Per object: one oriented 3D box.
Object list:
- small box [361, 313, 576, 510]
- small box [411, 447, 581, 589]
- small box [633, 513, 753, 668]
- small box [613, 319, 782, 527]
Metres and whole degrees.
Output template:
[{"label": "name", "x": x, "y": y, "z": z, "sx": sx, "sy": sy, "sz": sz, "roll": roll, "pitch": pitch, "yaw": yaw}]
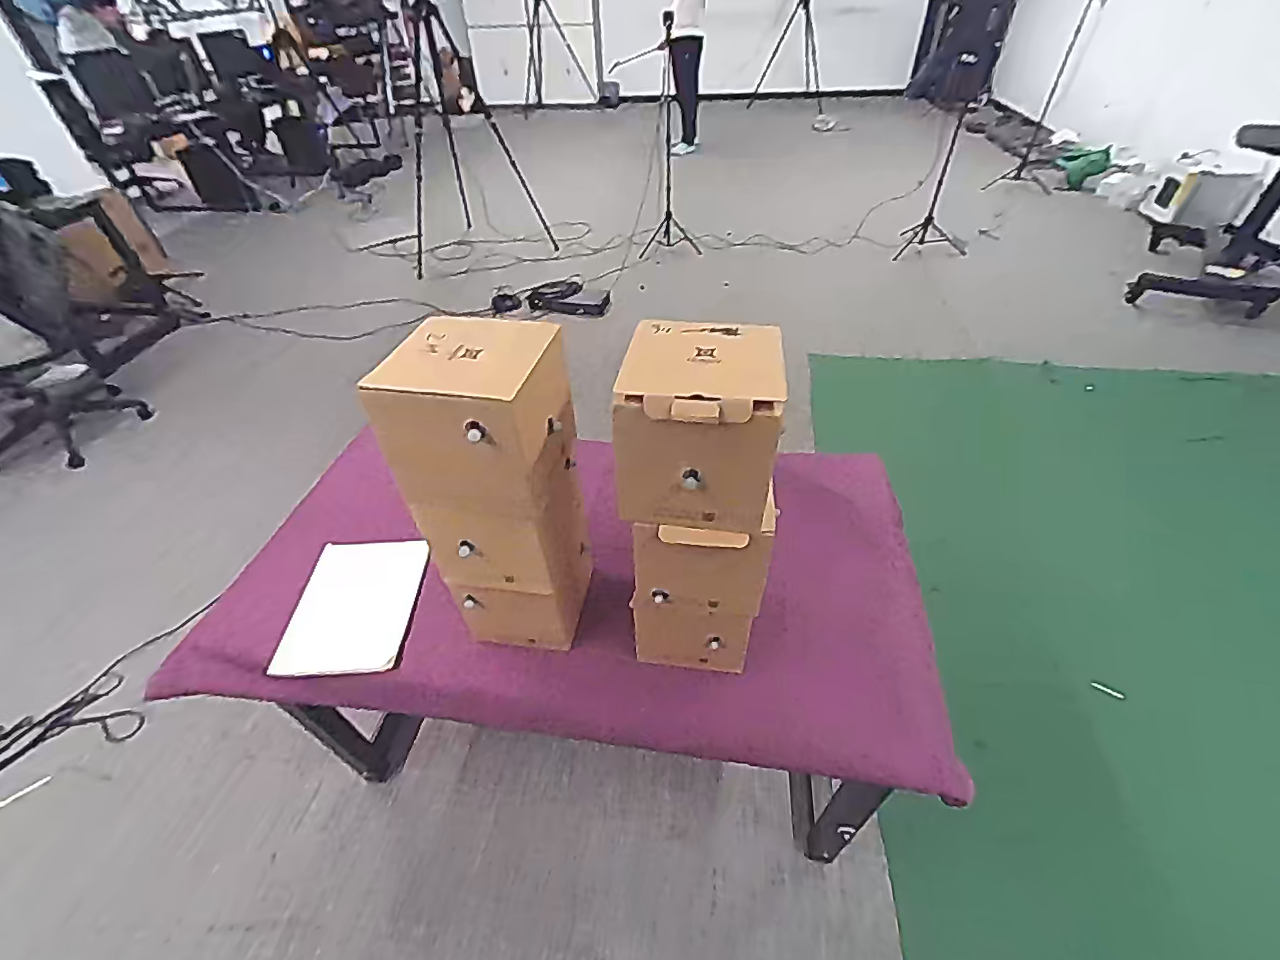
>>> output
[{"label": "small box", "x": -0.186, "y": -0.082, "z": 0.654, "sx": 0.179, "sy": 0.176, "sz": 0.168, "roll": 7, "pitch": 42, "yaw": 10}, {"label": "small box", "x": -0.187, "y": 0.034, "z": 0.771, "sx": 0.168, "sy": 0.176, "sz": 0.179, "roll": 5, "pitch": 43, "yaw": 8}, {"label": "small box", "x": 0.086, "y": 0.172, "z": 0.852, "sx": 0.168, "sy": 0.176, "sz": 0.179, "roll": 6, "pitch": 43, "yaw": 8}, {"label": "small box", "x": 0.070, "y": -0.065, "z": 0.627, "sx": 0.168, "sy": 0.176, "sz": 0.179, "roll": 6, "pitch": 44, "yaw": 7}]
